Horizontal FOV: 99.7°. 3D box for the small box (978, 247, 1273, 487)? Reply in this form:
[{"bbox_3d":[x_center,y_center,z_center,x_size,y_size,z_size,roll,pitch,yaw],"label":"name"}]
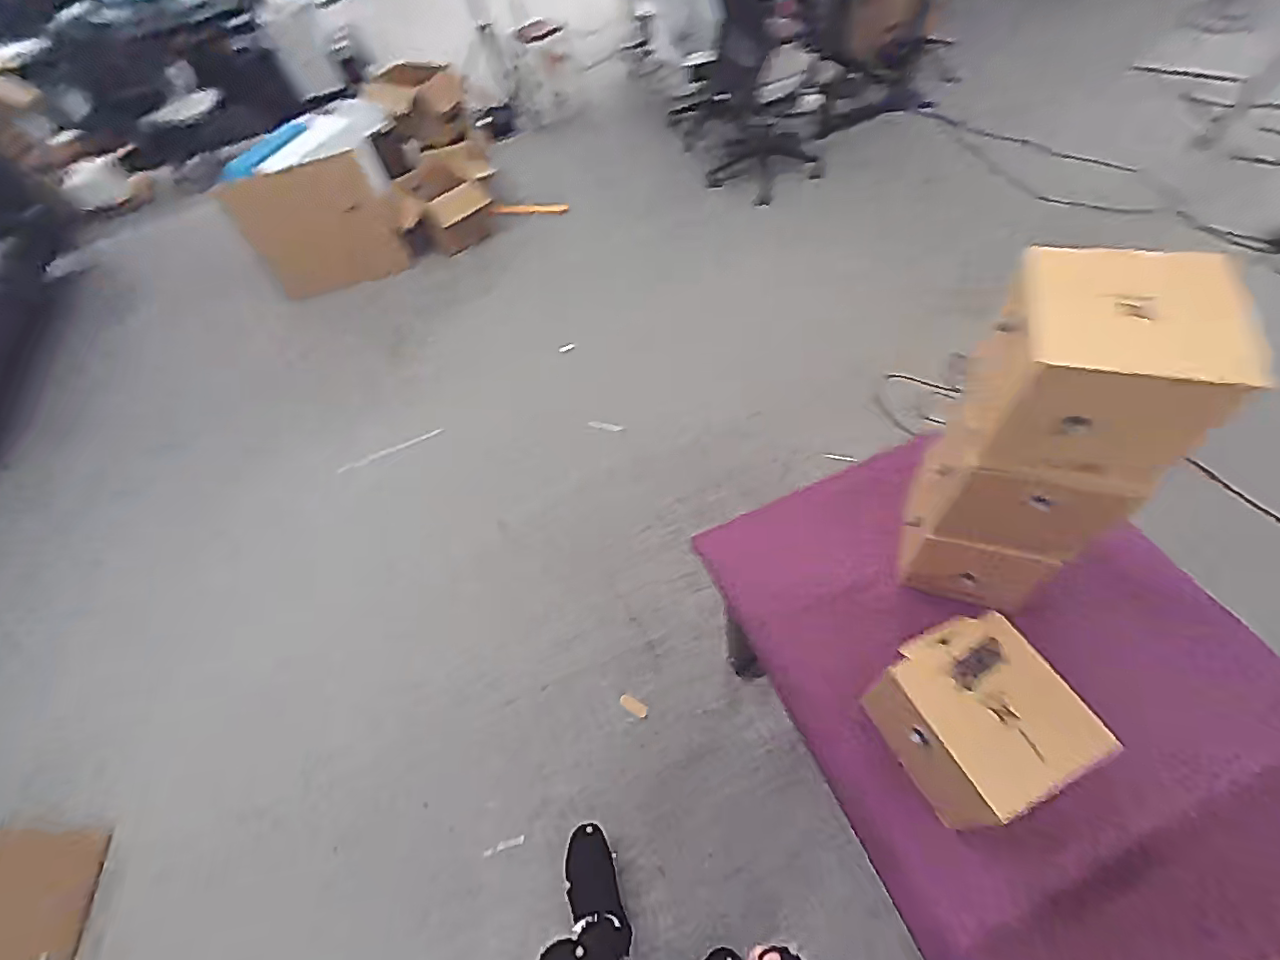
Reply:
[{"bbox_3d":[0.473,-0.114,0.564,0.168,0.176,0.179,11,59,17],"label":"small box"}]

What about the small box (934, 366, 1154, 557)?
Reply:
[{"bbox_3d":[0.497,-0.020,0.694,0.179,0.176,0.168,13,60,18],"label":"small box"}]

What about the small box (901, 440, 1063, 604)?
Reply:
[{"bbox_3d":[0.514,0.069,0.830,0.168,0.176,0.179,13,59,17],"label":"small box"}]

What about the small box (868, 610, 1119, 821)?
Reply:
[{"bbox_3d":[0.420,0.301,0.684,0.168,0.176,0.179,-24,56,-8],"label":"small box"}]
